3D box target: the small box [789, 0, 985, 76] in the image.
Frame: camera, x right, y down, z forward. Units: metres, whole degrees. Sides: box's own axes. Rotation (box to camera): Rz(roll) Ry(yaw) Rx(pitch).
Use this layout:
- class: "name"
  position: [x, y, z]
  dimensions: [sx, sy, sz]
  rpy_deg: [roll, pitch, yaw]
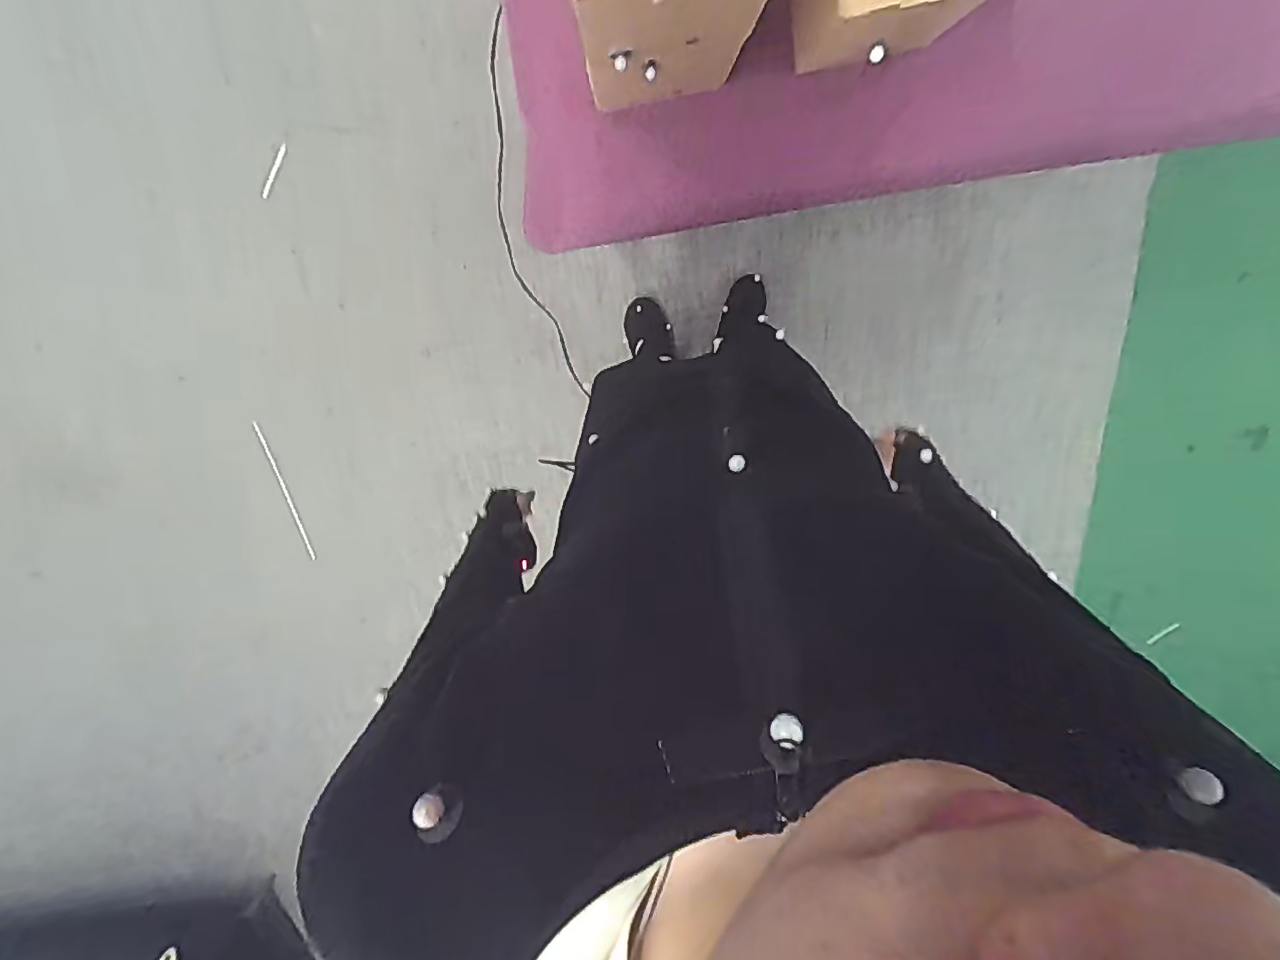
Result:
- class: "small box"
  position: [0.258, -0.573, 0.574]
  dimensions: [0.168, 0.176, 0.179]
  rpy_deg: [-9, 111, 4]

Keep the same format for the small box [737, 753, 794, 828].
- class: "small box"
  position: [0.450, 1.120, 1.955]
  dimensions: [0.168, 0.176, 0.179]
  rpy_deg: [-4, 111, 0]

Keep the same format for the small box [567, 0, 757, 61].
- class: "small box"
  position: [0.013, -0.473, 0.435]
  dimensions: [0.168, 0.176, 0.179]
  rpy_deg: [-9, 110, 3]
